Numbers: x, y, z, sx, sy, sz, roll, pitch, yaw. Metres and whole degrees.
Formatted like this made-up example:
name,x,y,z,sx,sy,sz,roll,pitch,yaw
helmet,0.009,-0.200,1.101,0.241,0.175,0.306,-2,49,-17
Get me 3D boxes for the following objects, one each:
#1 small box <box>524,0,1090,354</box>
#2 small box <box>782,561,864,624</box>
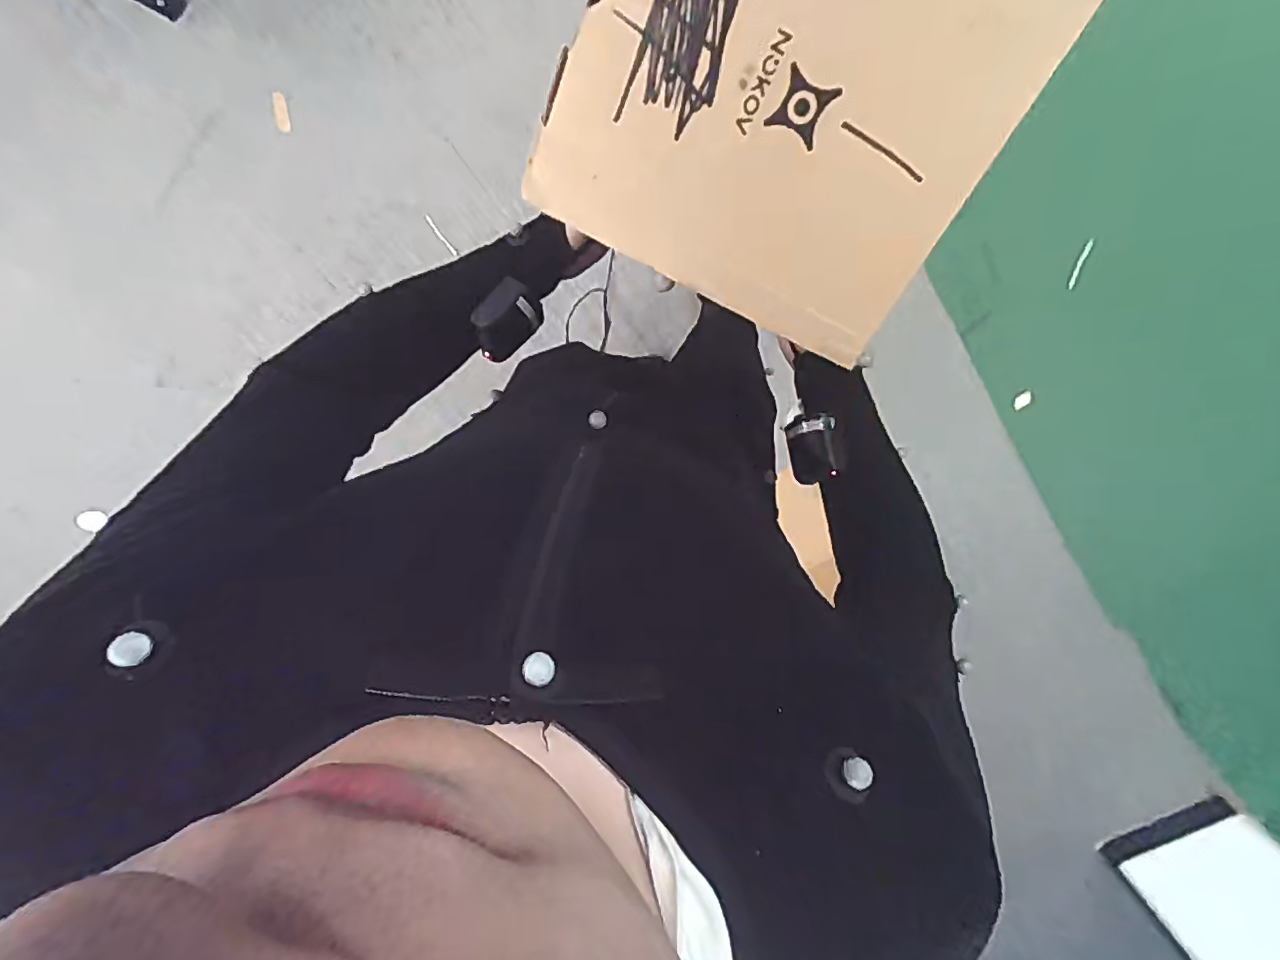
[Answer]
name,x,y,z,sx,sy,sz,roll,pitch,yaw
small box,0.066,-0.193,0.289,0.179,0.176,0.168,25,117,-6
small box,0.565,0.390,1.702,0.179,0.176,0.168,-32,106,12
